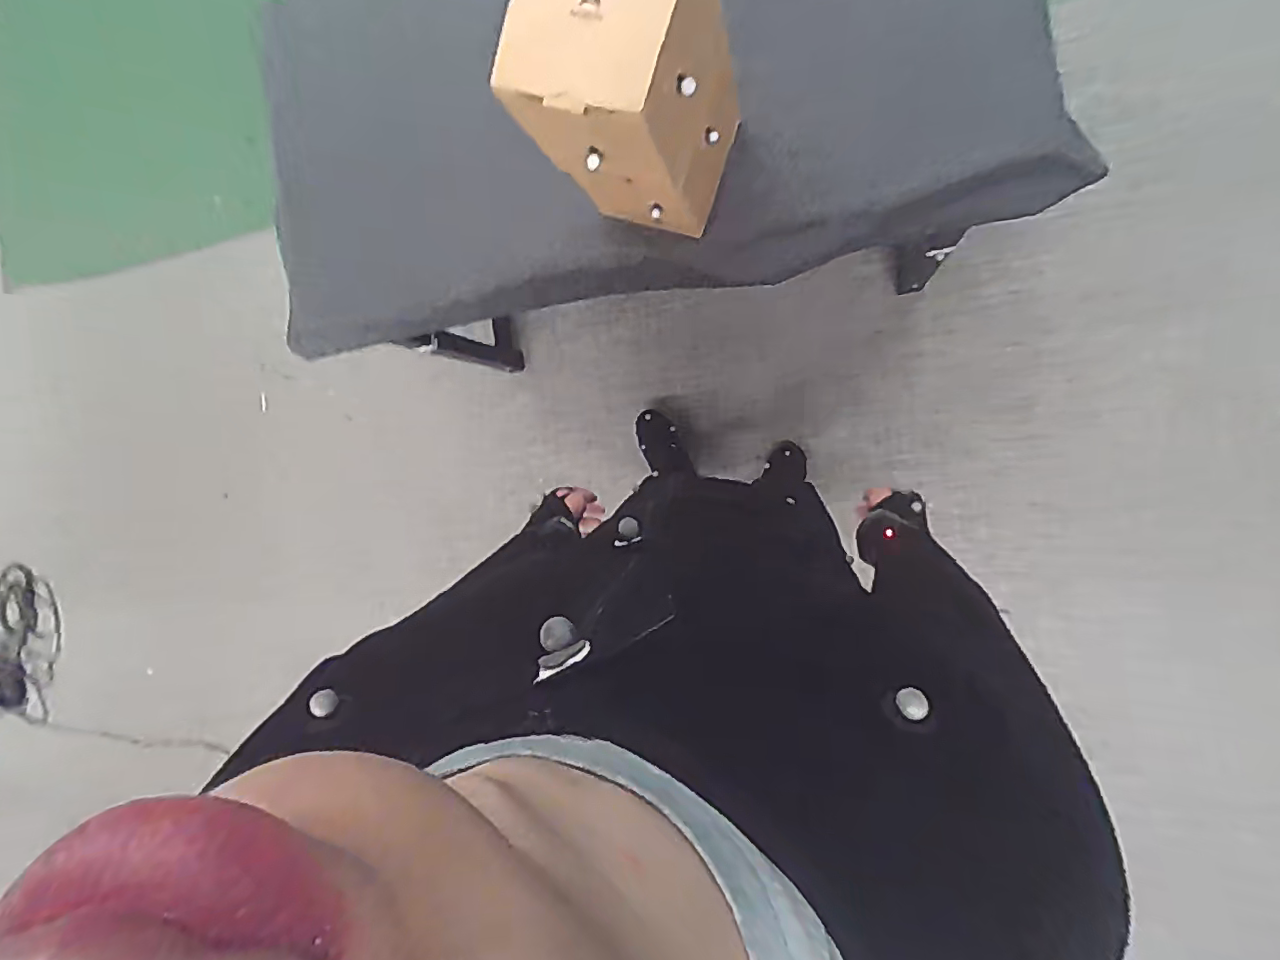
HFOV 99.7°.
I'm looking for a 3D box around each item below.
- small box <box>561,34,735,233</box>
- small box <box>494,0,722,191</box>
[{"bbox_3d":[0.021,-0.459,0.726,0.168,0.176,0.179,20,98,13],"label":"small box"},{"bbox_3d":[-0.022,-0.436,0.568,0.168,0.176,0.179,21,100,13],"label":"small box"}]
